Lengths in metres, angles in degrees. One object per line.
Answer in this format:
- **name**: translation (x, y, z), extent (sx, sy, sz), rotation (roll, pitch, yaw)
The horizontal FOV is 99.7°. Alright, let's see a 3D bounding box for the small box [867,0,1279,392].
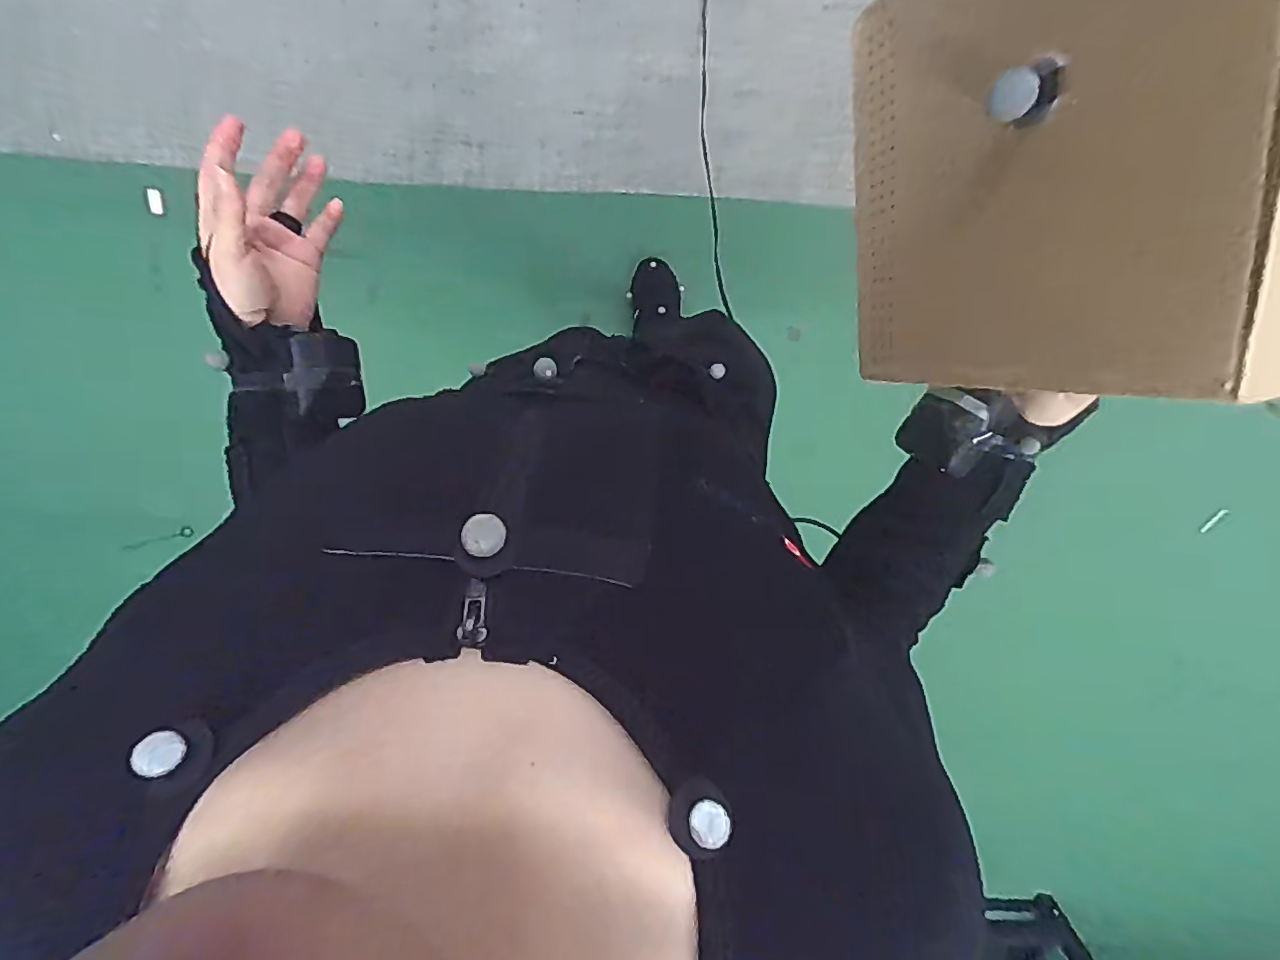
- **small box**: translation (0.218, -0.137, 0.232), extent (0.168, 0.176, 0.179), rotation (-10, 104, -10)
